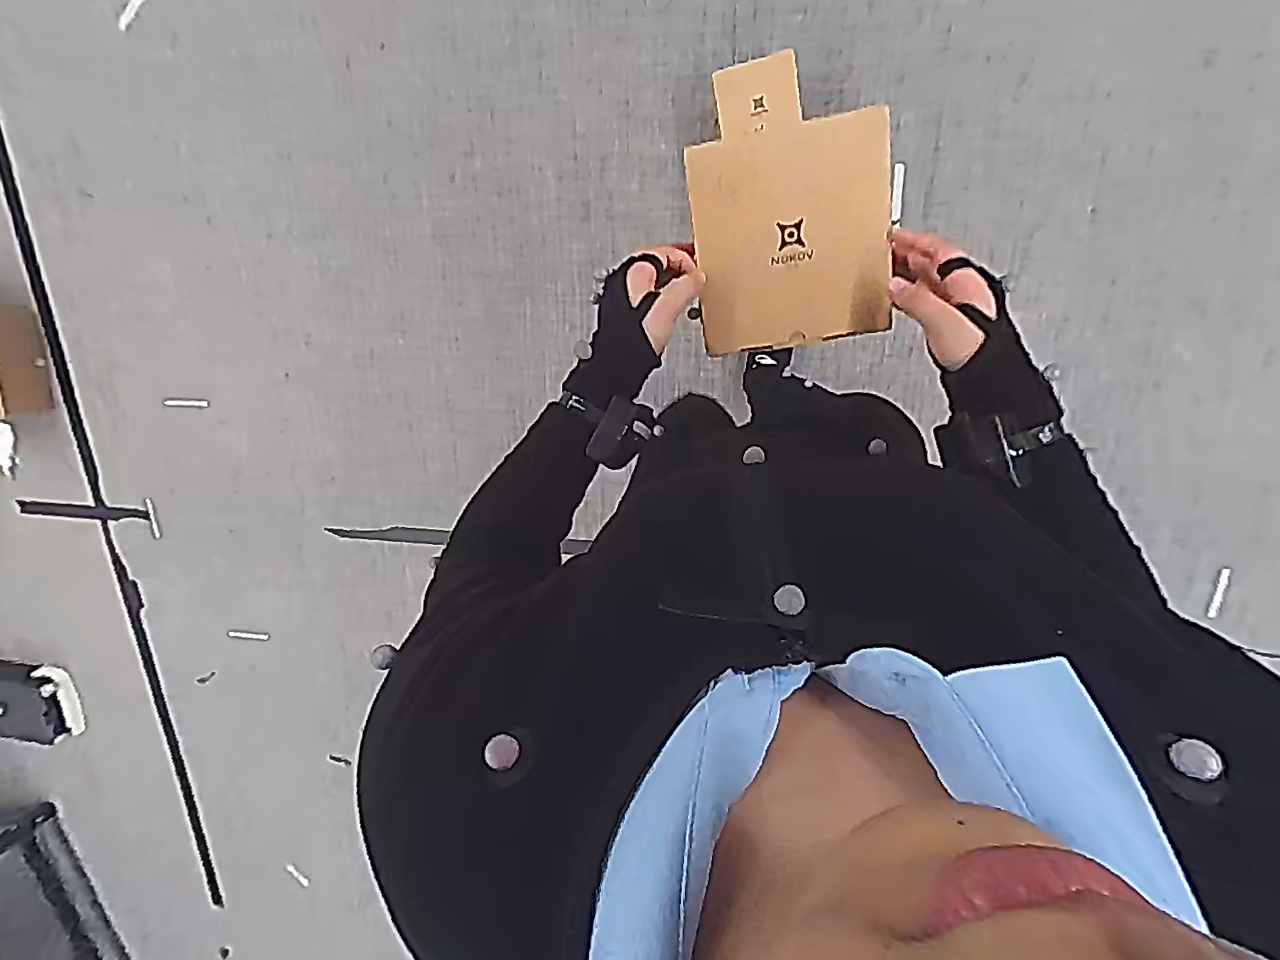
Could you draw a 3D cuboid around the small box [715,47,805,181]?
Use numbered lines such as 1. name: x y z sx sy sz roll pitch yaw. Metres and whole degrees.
1. small box: 0.255 -0.782 1.176 0.168 0.176 0.179 -9 104 11
